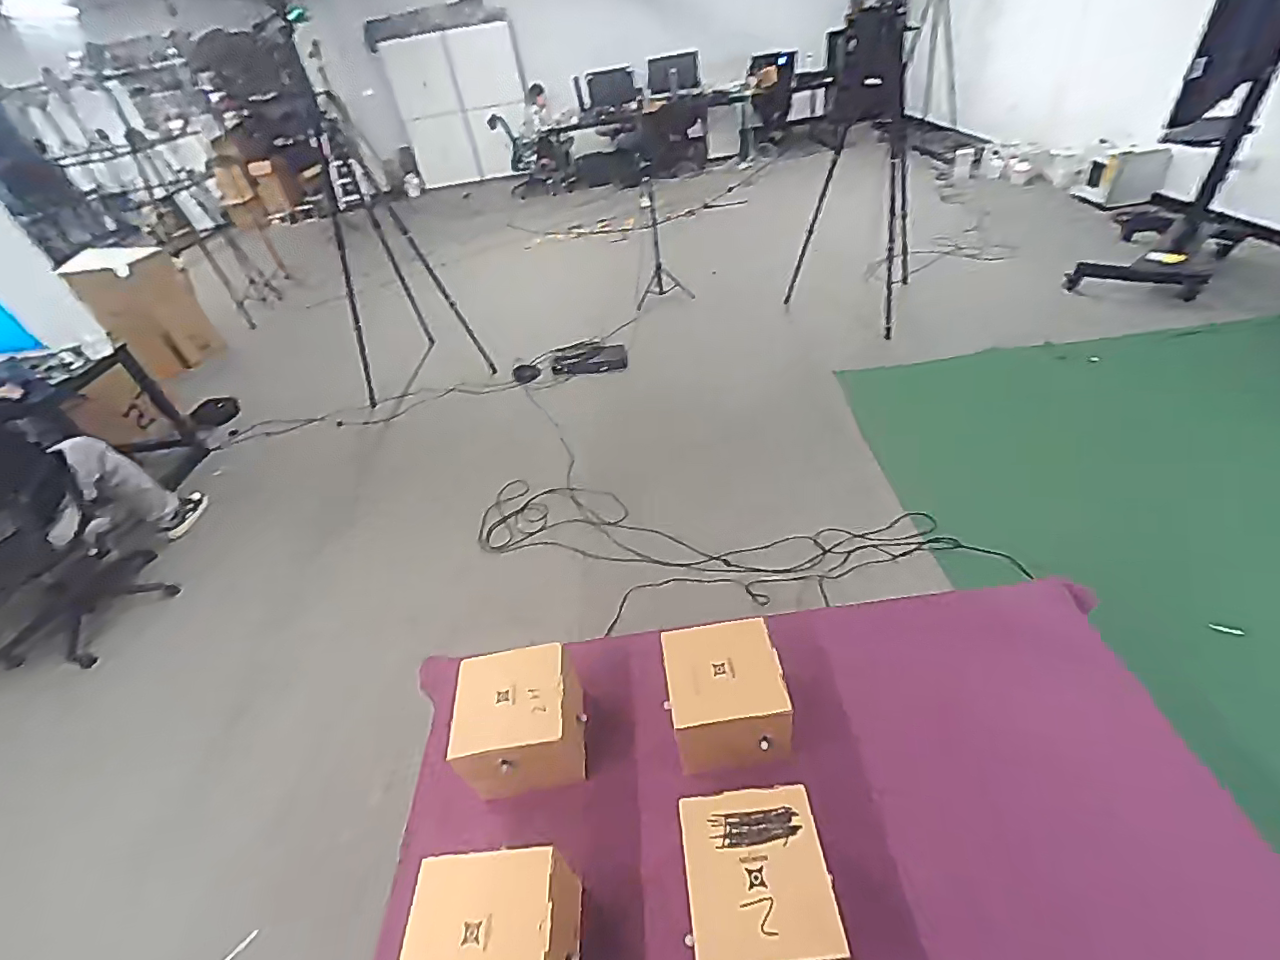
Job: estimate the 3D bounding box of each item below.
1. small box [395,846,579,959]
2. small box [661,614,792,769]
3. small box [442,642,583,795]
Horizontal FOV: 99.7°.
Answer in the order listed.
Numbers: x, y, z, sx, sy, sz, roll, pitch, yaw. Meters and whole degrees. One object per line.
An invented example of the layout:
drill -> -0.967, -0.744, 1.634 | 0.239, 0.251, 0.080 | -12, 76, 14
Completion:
small box -> -0.182, 0.584, 0.673 | 0.179, 0.176, 0.168 | -7, 39, 3
small box -> 0.136, 0.346, 0.879 | 0.179, 0.176, 0.168 | -10, 40, 2
small box -> -0.199, 0.396, 0.893 | 0.179, 0.176, 0.168 | -10, 41, 0
